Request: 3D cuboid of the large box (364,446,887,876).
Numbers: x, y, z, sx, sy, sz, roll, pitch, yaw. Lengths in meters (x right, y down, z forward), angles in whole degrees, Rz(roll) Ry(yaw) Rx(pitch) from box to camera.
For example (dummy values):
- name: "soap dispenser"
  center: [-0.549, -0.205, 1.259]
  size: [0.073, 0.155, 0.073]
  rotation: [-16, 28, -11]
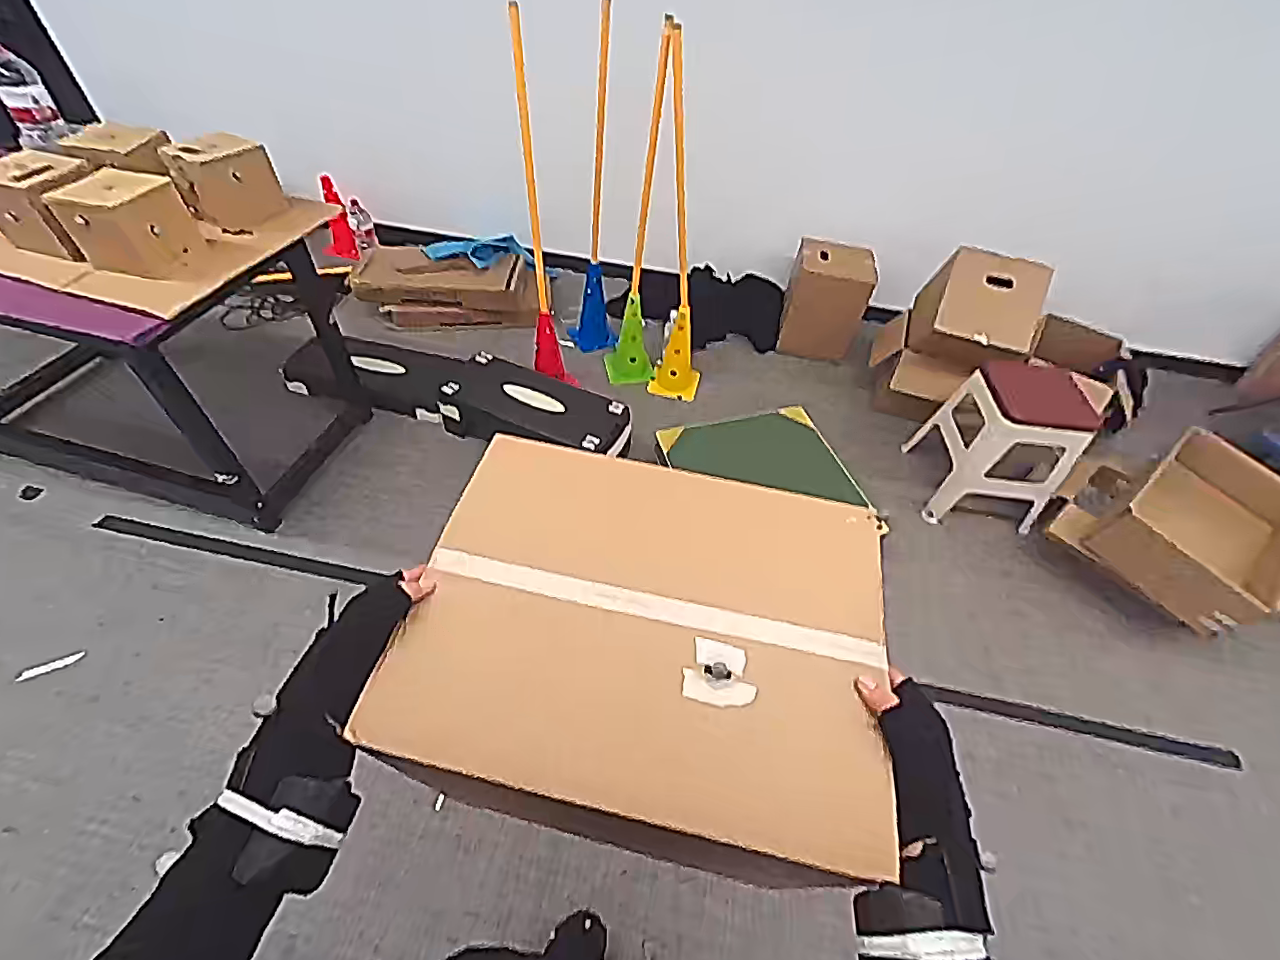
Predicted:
- name: "large box"
  center: [0.001, 0.206, 0.601]
  size: [0.408, 0.320, 0.320]
  rotation: [12, 54, 5]
